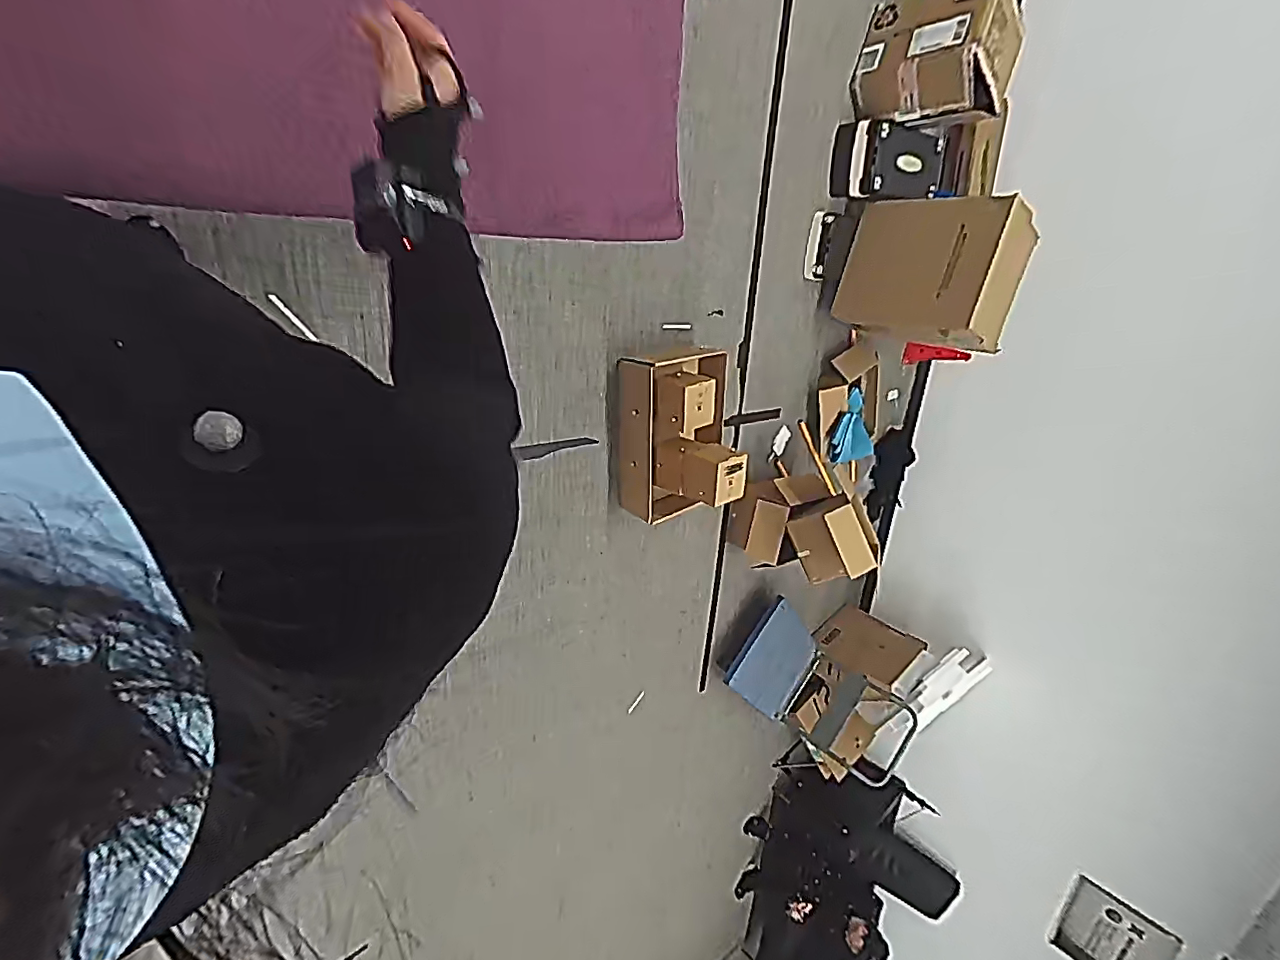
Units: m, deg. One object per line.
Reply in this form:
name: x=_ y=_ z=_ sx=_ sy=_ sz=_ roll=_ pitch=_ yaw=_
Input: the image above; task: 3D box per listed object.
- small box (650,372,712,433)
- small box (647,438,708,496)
small box: x=0.151 y=-0.296 z=2.033 sx=0.168 sy=0.176 sz=0.179 roll=-22 pitch=123 yaw=-38
small box: x=0.147 y=-0.059 z=2.139 sx=0.179 sy=0.176 sz=0.168 roll=-19 pitch=119 yaw=-38
